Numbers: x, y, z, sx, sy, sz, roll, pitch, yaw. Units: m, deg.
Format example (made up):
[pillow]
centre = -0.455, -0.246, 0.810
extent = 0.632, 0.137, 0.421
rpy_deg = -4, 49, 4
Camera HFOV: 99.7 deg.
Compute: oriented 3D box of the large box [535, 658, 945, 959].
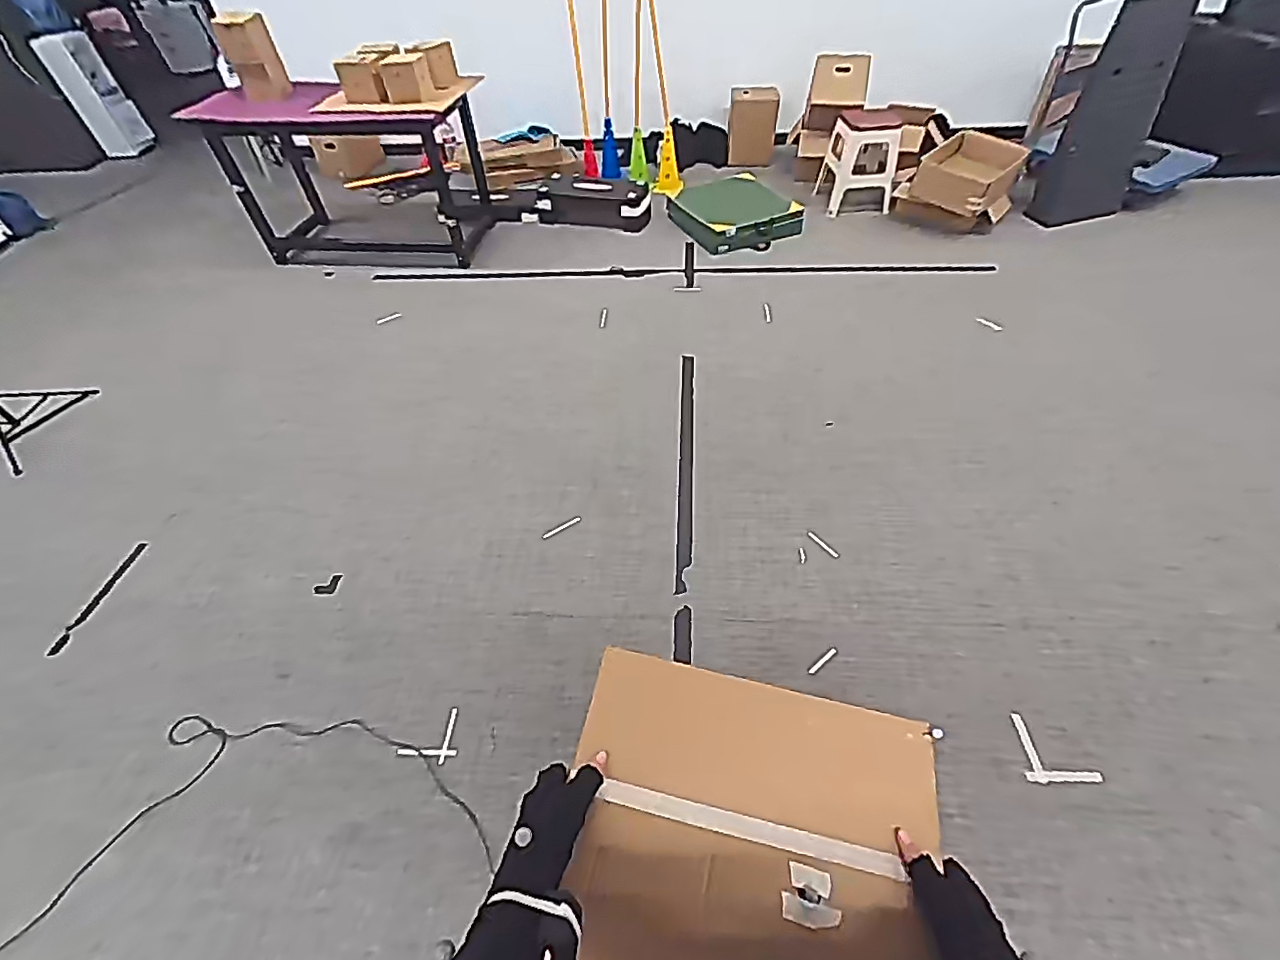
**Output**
[large box]
centre = 0.116, 0.473, 0.708
extent = 0.408, 0.320, 0.320
rpy_deg = 12, 54, 7
